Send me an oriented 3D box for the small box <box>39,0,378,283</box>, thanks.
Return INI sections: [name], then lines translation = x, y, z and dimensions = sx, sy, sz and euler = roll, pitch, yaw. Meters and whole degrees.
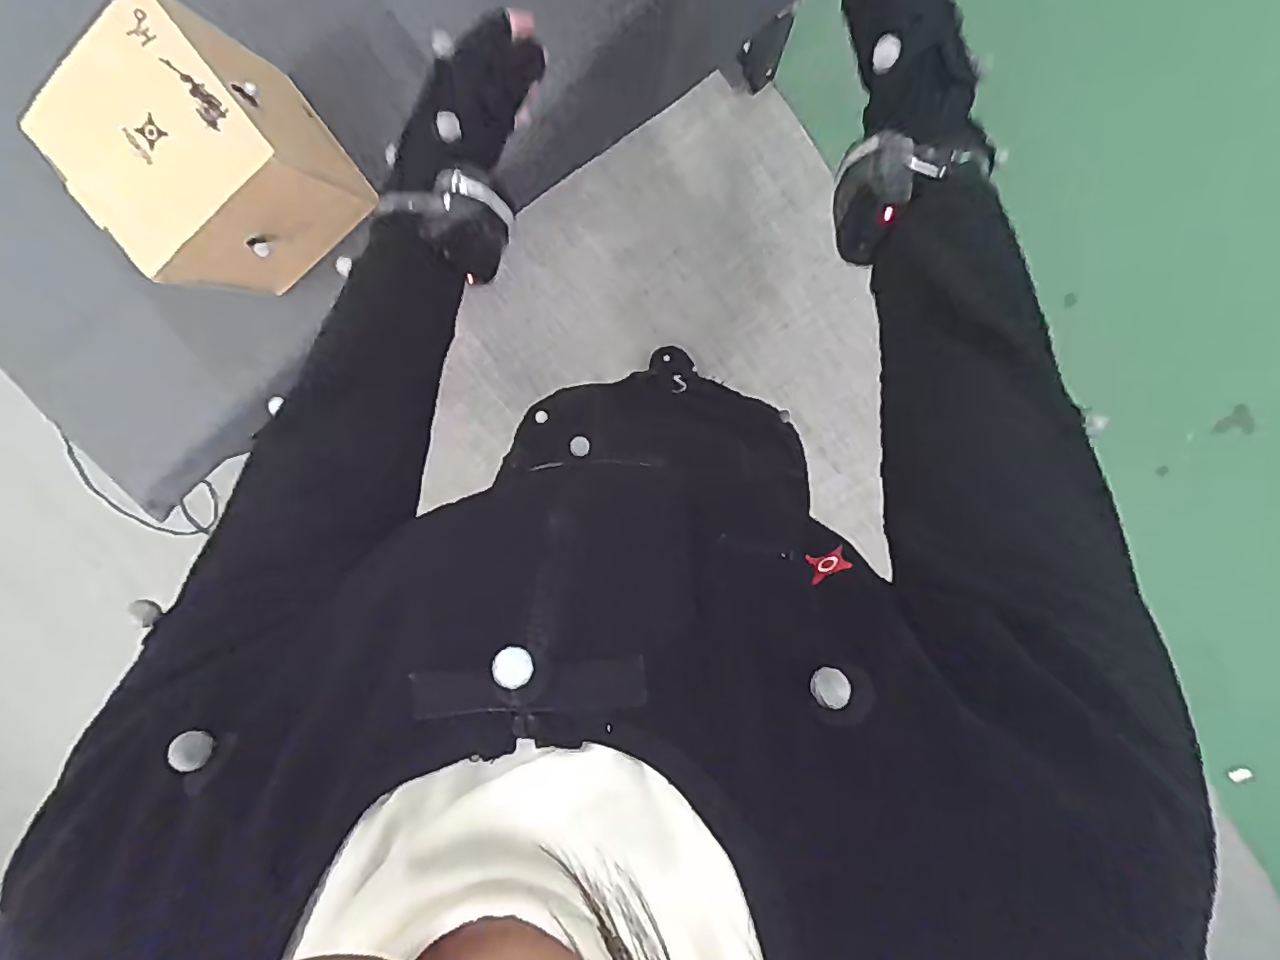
[small box]
translation = -0.414, -0.323, 0.551
dimensions = 0.179, 0.176, 0.168
euler = -34, 98, 13
